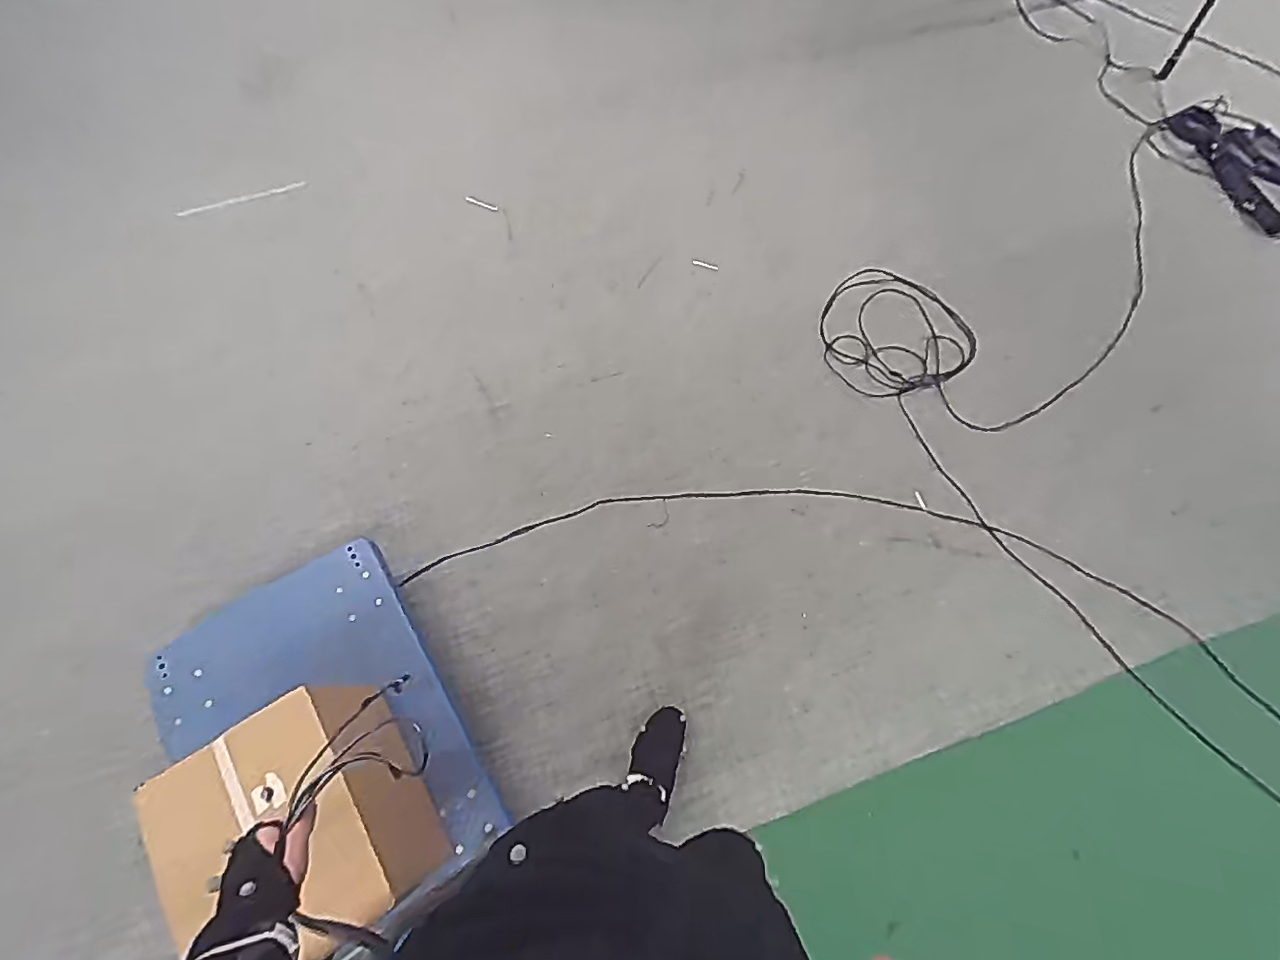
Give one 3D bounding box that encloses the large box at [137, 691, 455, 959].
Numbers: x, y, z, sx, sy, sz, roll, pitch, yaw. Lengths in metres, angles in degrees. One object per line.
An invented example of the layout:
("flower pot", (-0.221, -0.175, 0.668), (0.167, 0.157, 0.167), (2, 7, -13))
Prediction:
("large box", (-0.620, 0.668, 1.028), (0.320, 0.320, 0.408), (-32, 71, -13))
